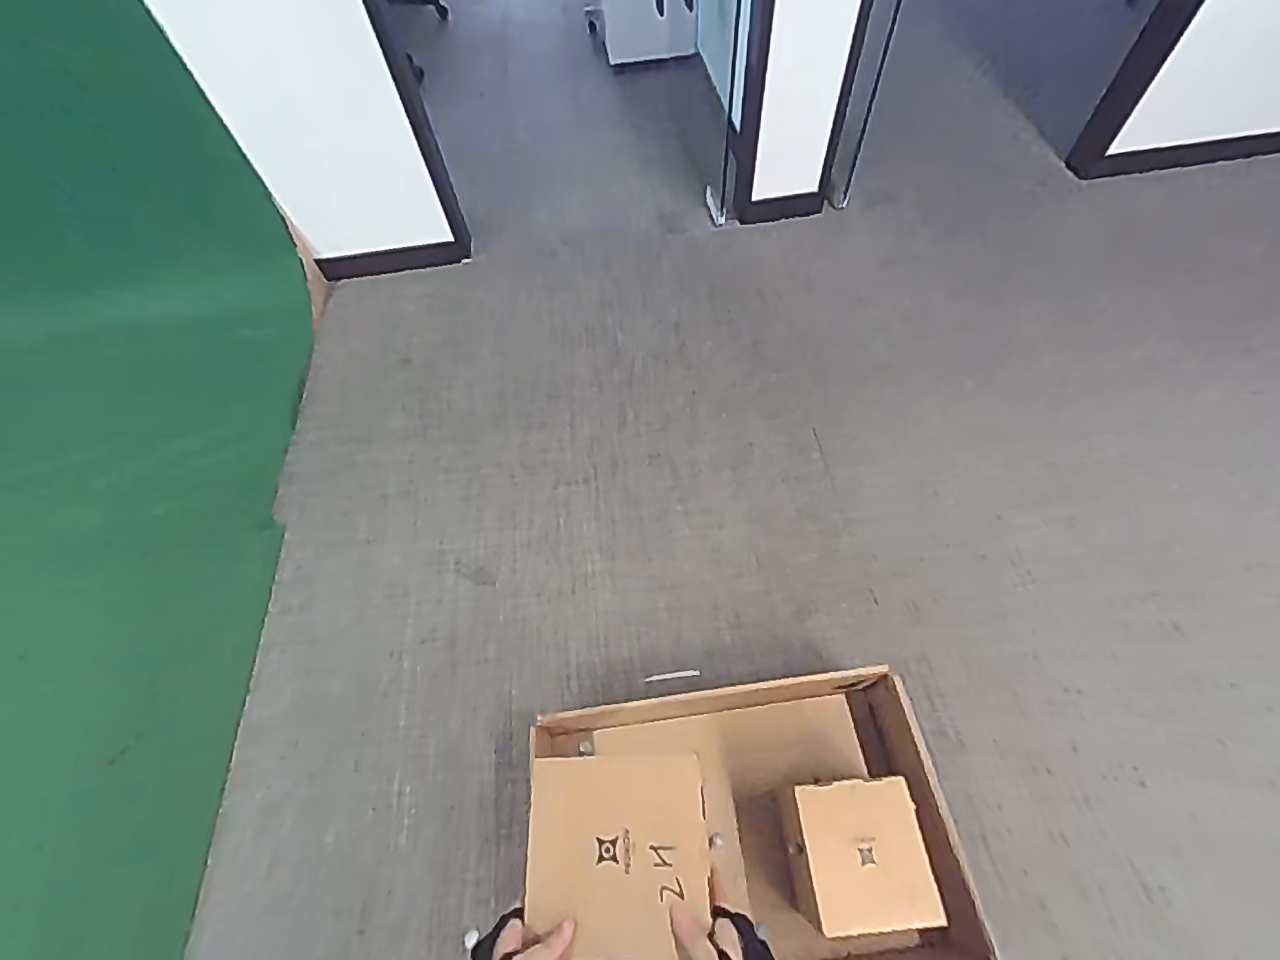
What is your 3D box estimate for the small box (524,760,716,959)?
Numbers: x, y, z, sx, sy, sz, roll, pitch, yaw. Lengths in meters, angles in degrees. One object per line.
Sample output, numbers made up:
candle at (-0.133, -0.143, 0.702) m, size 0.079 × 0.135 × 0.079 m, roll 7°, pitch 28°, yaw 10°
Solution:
small box at (-0.010, 0.403, 0.589) m, size 0.179 × 0.176 × 0.168 m, roll -4°, pitch 60°, yaw 5°
